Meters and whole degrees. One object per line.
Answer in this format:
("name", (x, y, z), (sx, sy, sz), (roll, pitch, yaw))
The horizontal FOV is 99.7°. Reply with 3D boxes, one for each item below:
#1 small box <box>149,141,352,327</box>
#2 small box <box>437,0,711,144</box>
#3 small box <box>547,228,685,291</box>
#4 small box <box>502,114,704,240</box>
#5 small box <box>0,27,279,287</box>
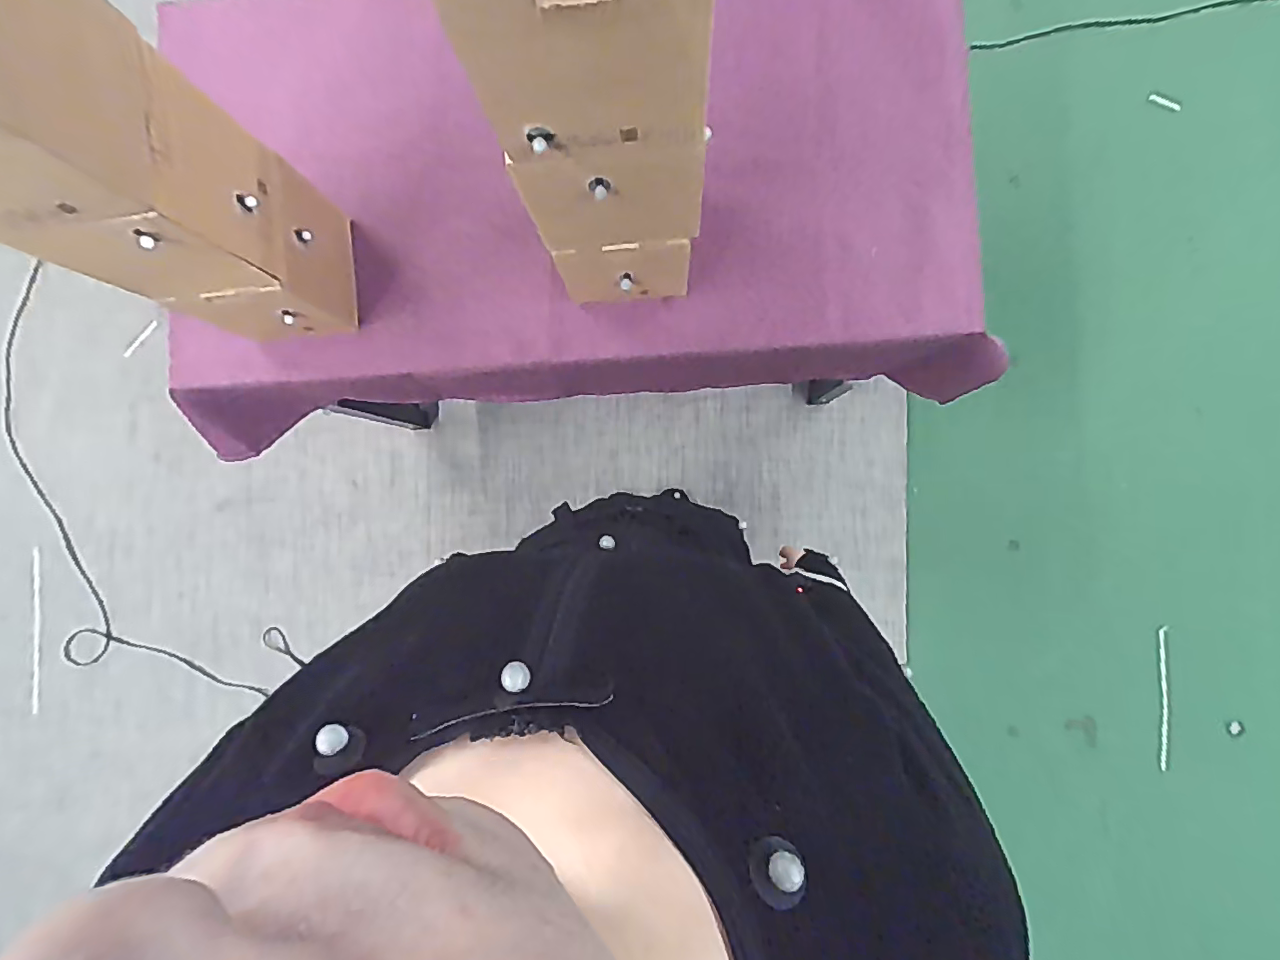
("small box", (-0.514, -0.314, 0.730), (0.168, 0.176, 0.179), (-4, 88, 2))
("small box", (-0.038, -0.366, 0.378), (0.168, 0.176, 0.179), (-4, 88, 3))
("small box", (-0.026, -0.358, 0.708), (0.168, 0.176, 0.179), (-3, 90, 2))
("small box", (-0.031, -0.359, 0.543), (0.179, 0.176, 0.168), (-3, 89, 3))
("small box", (-0.525, -0.317, 0.568), (0.179, 0.176, 0.168), (-6, 89, 1))
